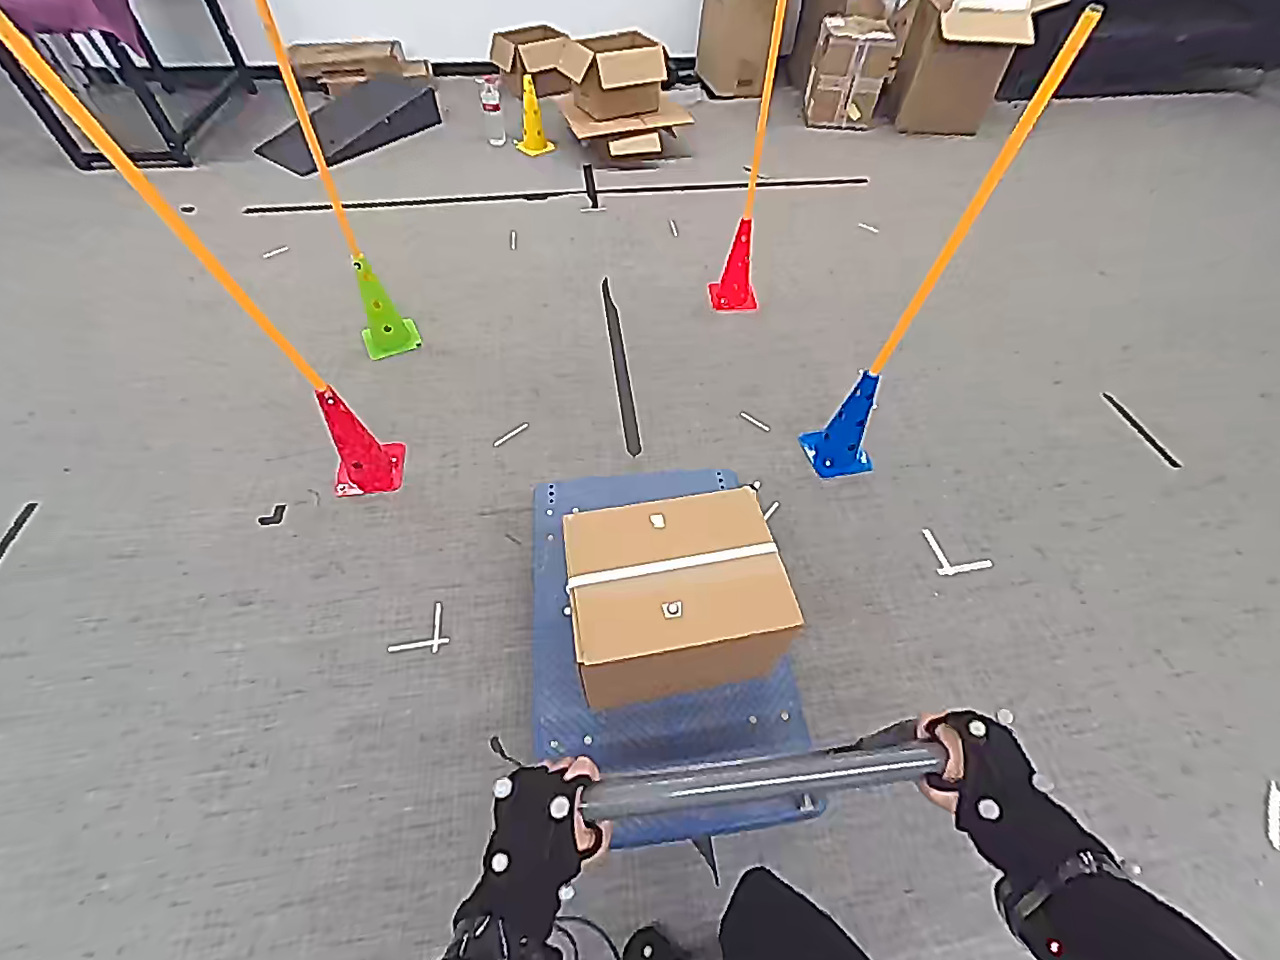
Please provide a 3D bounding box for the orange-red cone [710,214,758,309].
[{"bbox_3d":[0.418,-0.916,2.235,0.199,0.360,0.198,0,53,-3],"label":"orange-red cone"}]

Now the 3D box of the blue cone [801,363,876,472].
[{"bbox_3d":[0.673,-0.207,1.722,0.193,0.380,0.192,-9,52,-9],"label":"blue cone"}]
